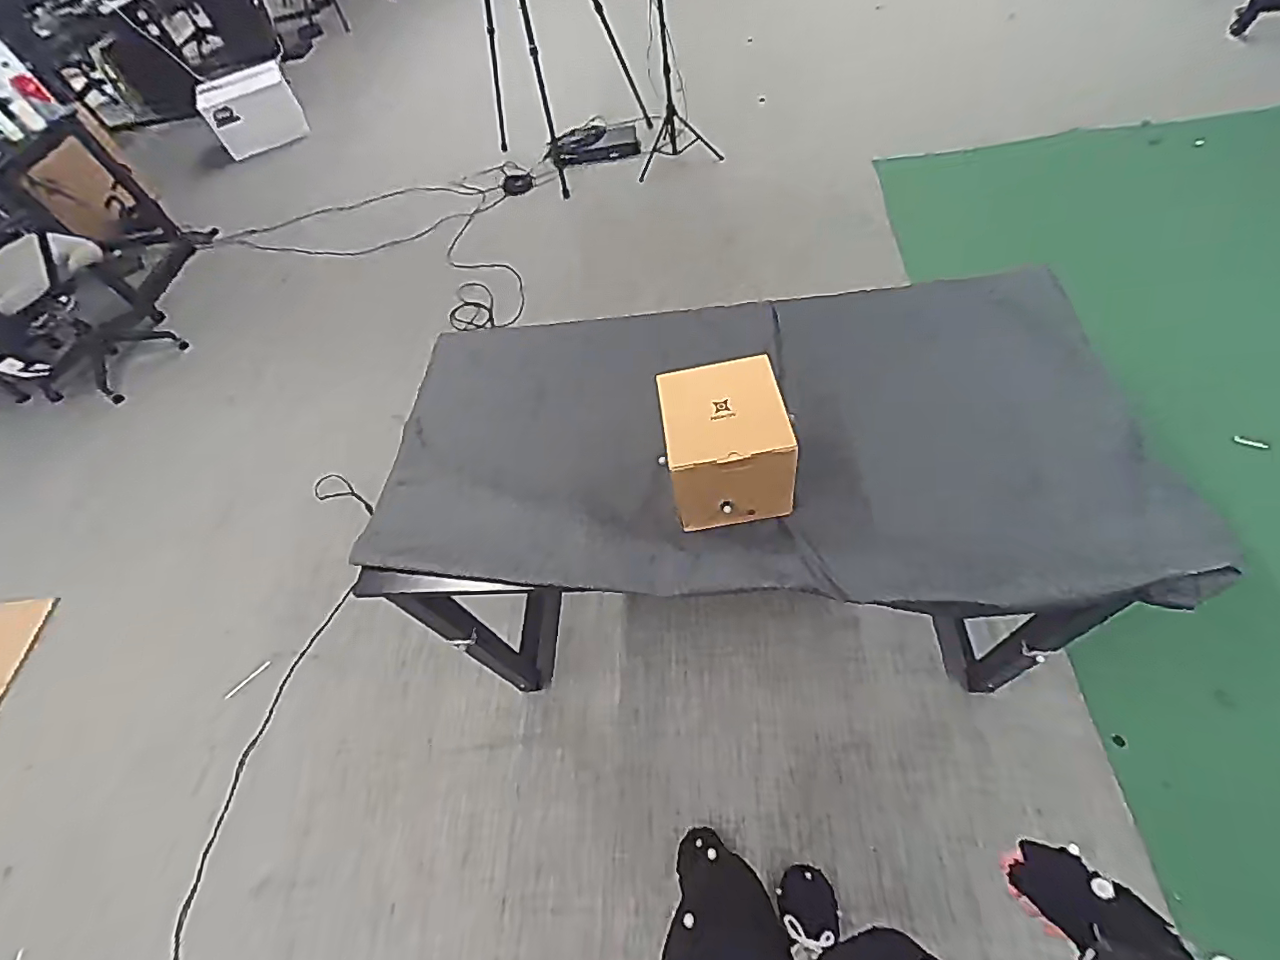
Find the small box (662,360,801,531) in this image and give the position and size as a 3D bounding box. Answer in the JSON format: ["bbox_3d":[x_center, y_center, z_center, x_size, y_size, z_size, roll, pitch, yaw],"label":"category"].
[{"bbox_3d":[0.129,-0.048,0.804,0.168,0.176,0.179,-10,55,4],"label":"small box"}]
